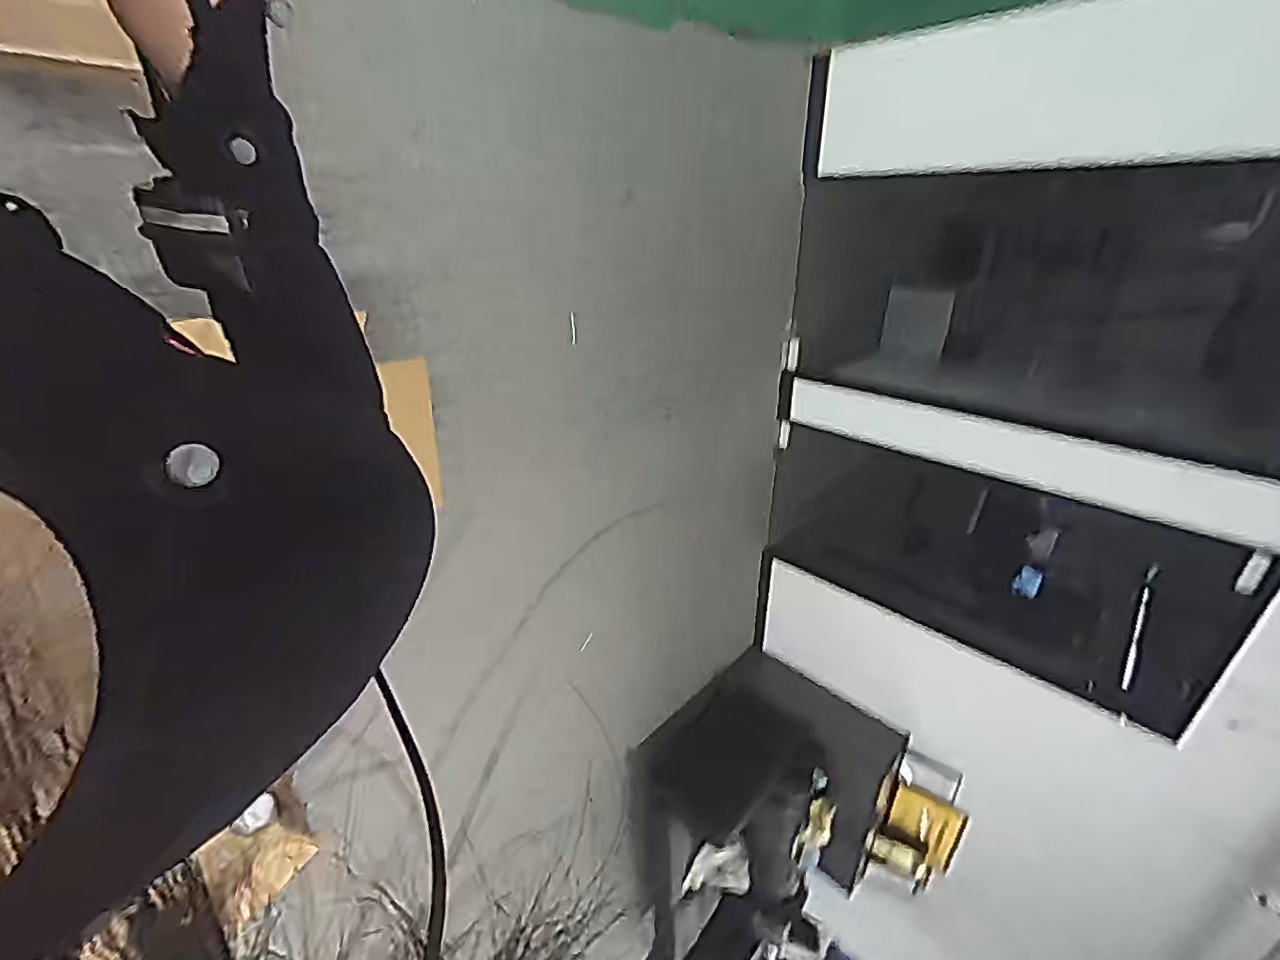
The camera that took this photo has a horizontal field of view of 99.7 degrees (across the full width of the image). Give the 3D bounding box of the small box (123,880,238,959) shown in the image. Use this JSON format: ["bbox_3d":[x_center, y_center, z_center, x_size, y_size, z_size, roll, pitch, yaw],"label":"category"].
[{"bbox_3d":[-0.998,1.018,1.169,0.168,0.176,0.179,1,105,-49],"label":"small box"}]
